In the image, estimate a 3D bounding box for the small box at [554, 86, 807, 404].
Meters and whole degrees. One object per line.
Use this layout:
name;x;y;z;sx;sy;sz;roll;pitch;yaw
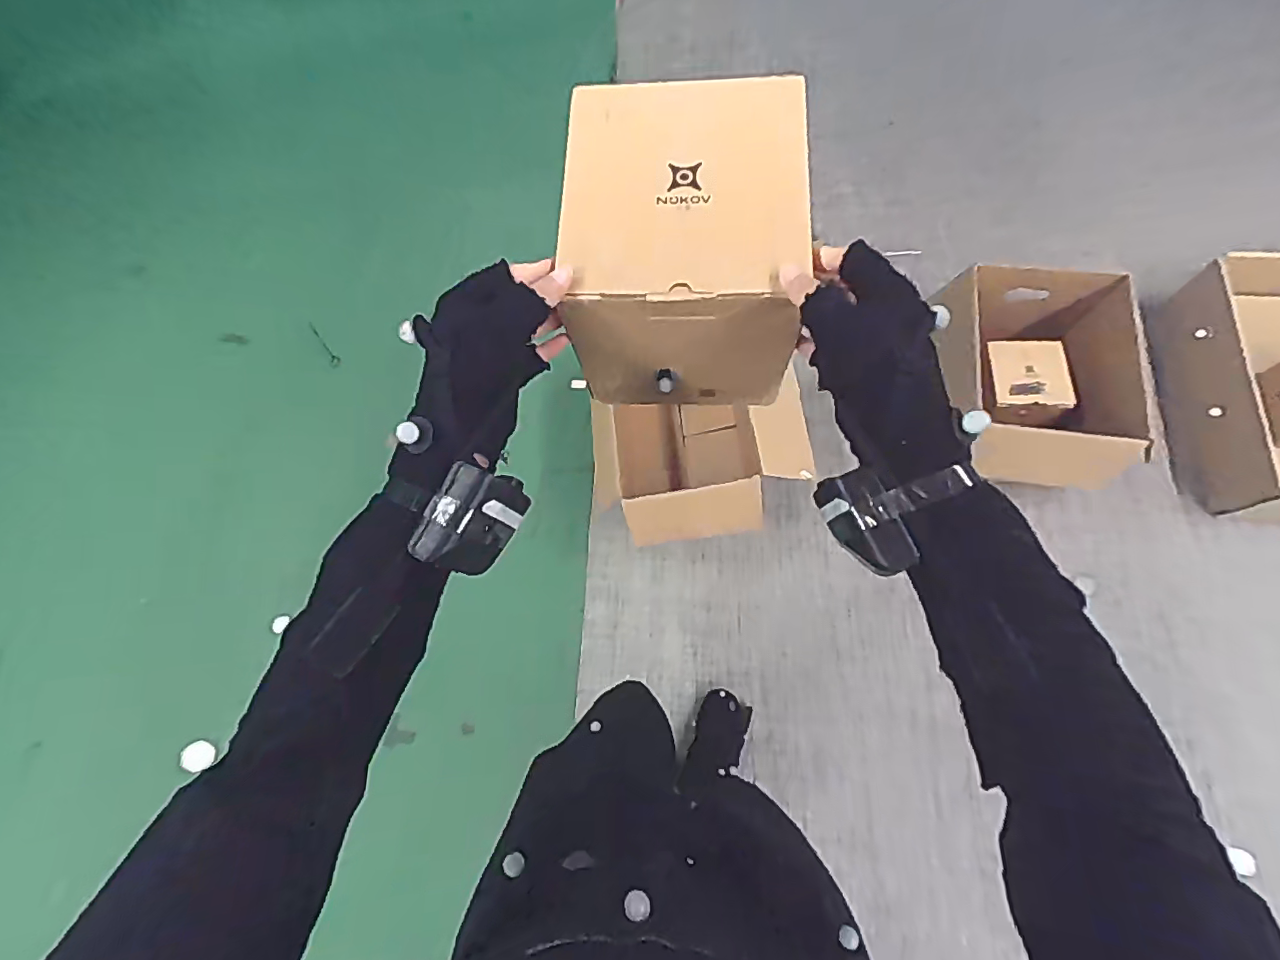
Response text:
small box;0.035;-0.178;0.446;0.168;0.176;0.179;1;75;6
